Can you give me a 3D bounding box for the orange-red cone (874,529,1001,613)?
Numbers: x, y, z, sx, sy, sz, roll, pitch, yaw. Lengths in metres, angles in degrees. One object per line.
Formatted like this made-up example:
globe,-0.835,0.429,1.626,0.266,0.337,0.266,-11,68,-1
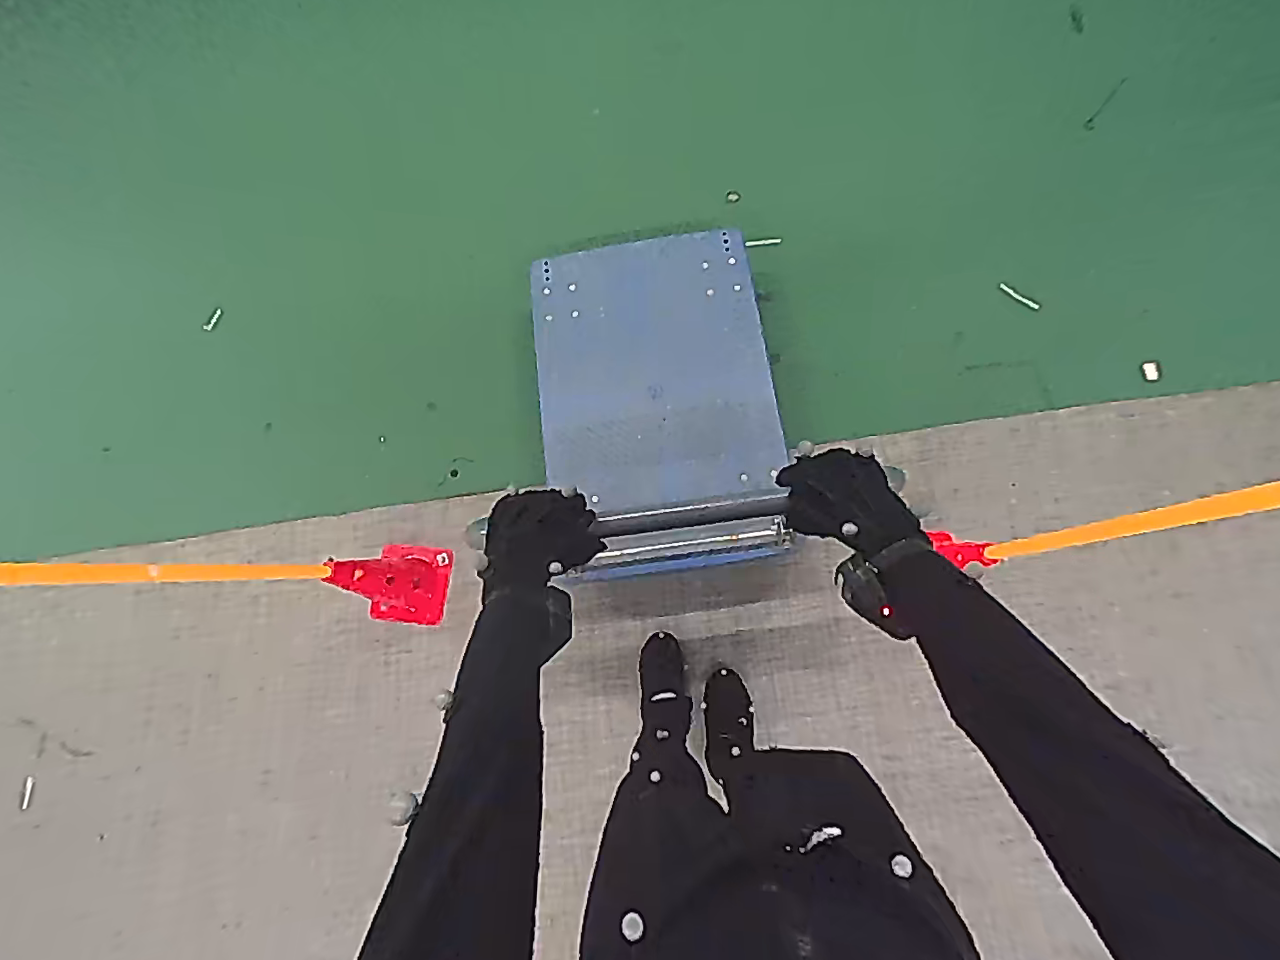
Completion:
orange-red cone,0.667,0.180,1.171,0.198,0.360,0.199,3,76,6
